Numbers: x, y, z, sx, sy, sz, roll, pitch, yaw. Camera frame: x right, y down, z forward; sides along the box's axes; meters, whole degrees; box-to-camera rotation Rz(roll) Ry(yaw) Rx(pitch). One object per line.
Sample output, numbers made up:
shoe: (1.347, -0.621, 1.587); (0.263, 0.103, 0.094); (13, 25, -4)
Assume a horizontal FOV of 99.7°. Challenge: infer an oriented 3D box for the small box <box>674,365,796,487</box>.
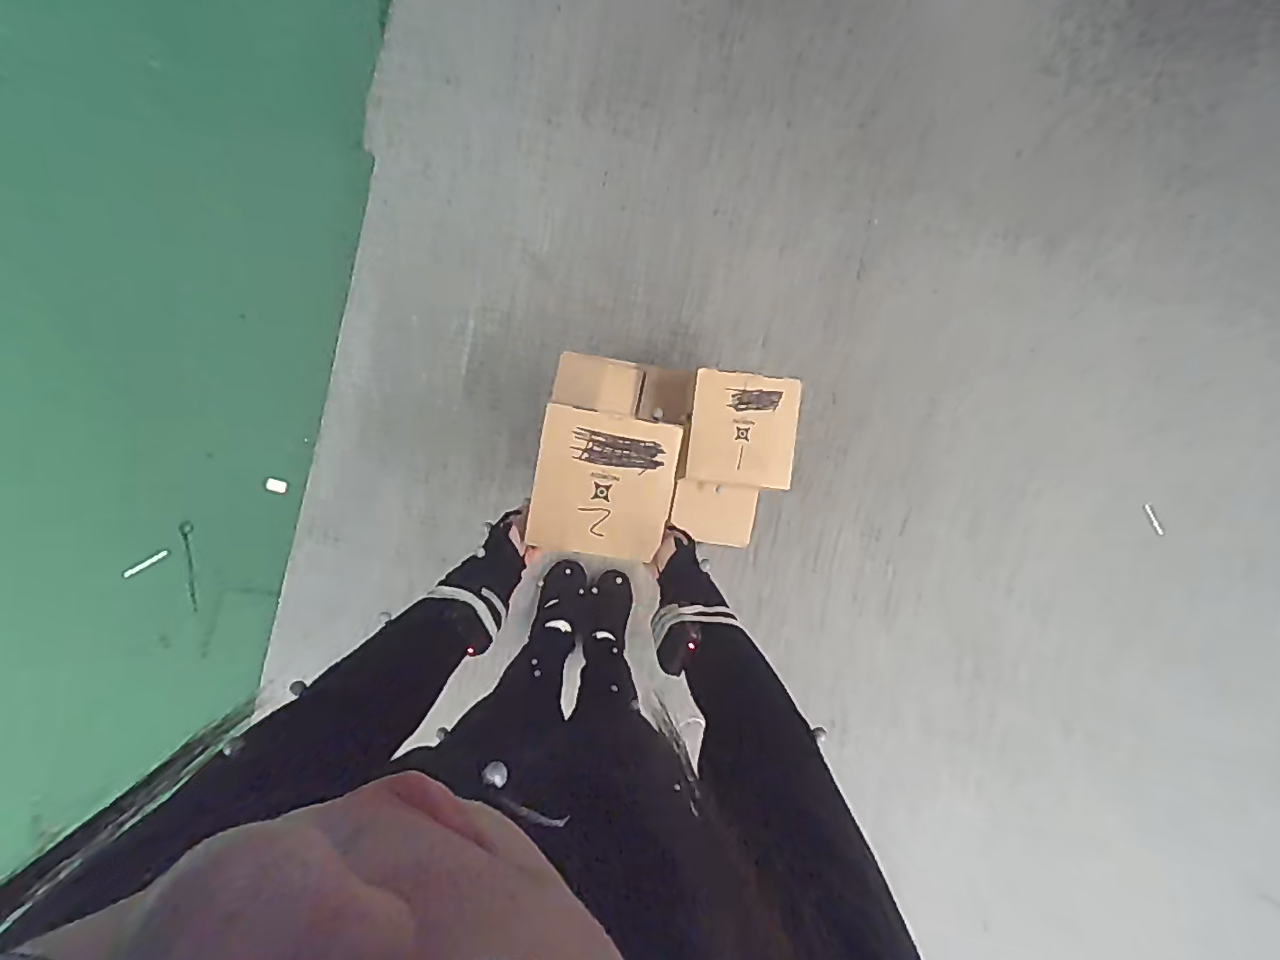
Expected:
small box: (0.153, -0.085, 0.929); (0.168, 0.176, 0.179); (7, 90, -1)
